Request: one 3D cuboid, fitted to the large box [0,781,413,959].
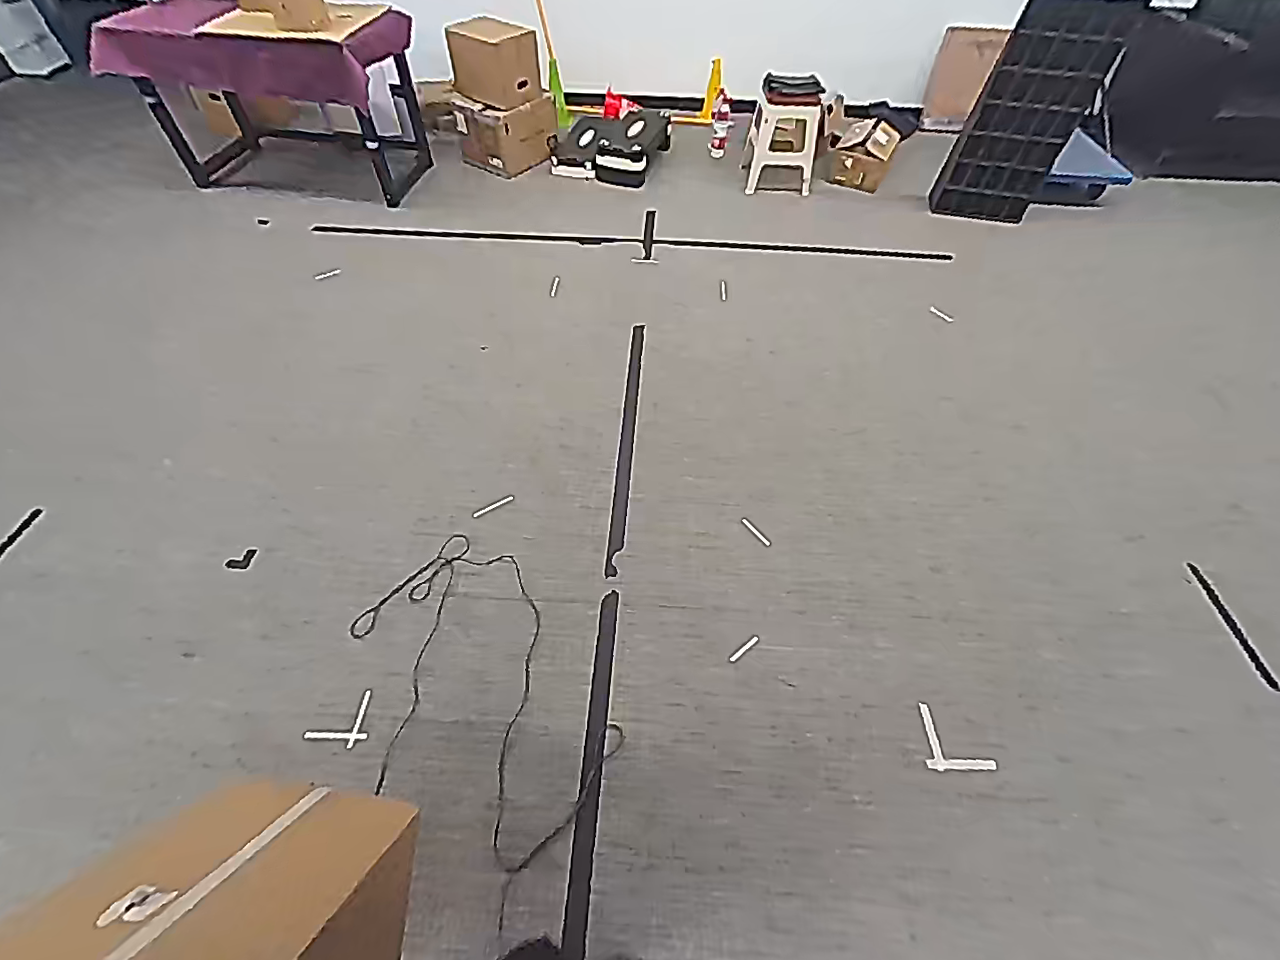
[{"bbox_3d":[-0.535,0.647,0.664,0.320,0.408,0.320,7,88,3],"label":"large box"}]
